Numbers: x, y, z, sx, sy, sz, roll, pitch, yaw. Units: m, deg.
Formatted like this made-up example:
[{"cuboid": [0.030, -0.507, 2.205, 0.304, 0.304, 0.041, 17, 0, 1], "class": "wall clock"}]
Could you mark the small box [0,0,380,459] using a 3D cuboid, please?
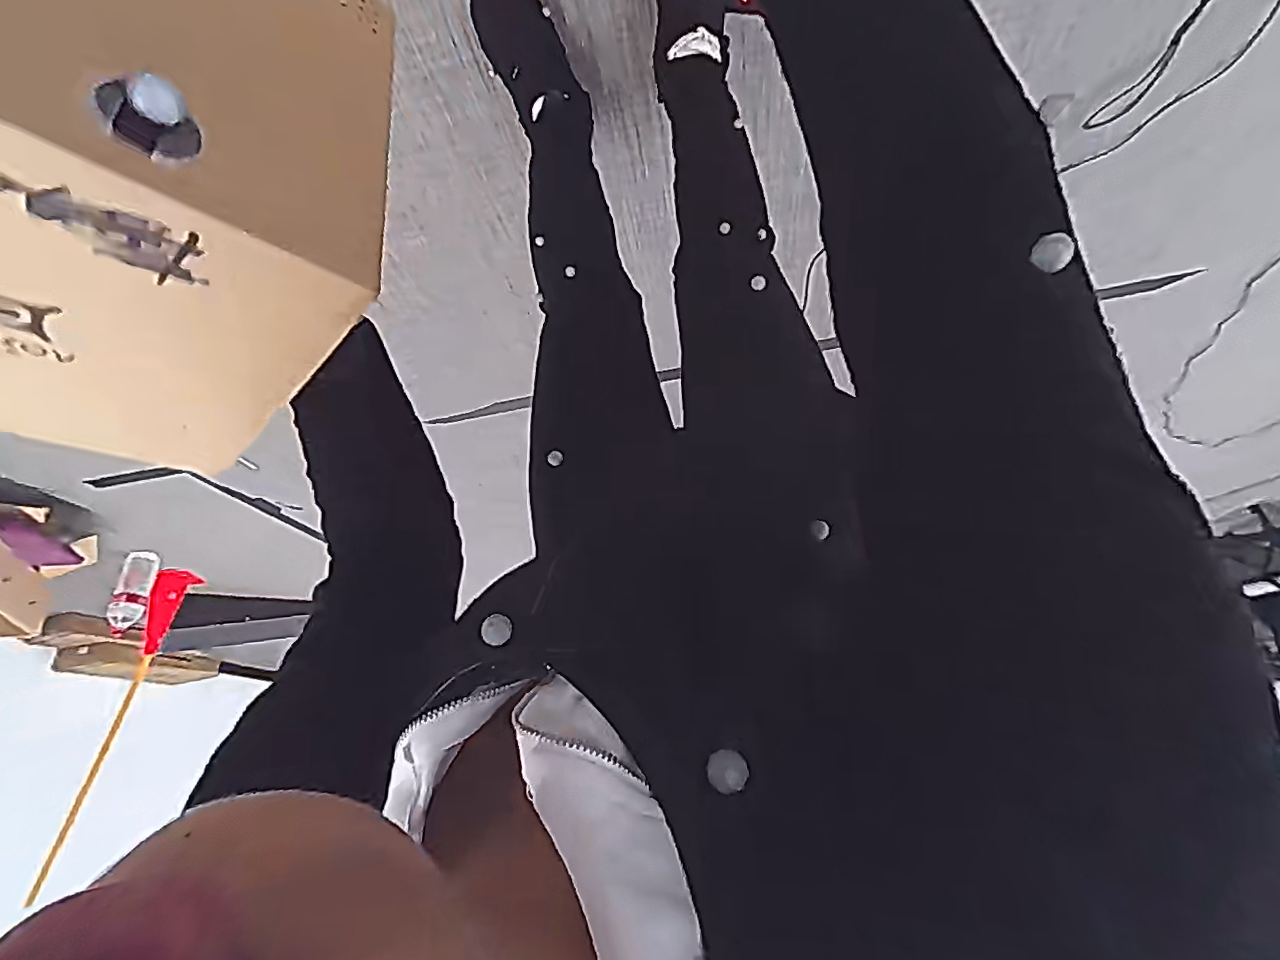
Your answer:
[{"cuboid": [-0.217, -0.131, 0.210, 0.179, 0.176, 0.168, -24, 154, 35], "class": "small box"}]
